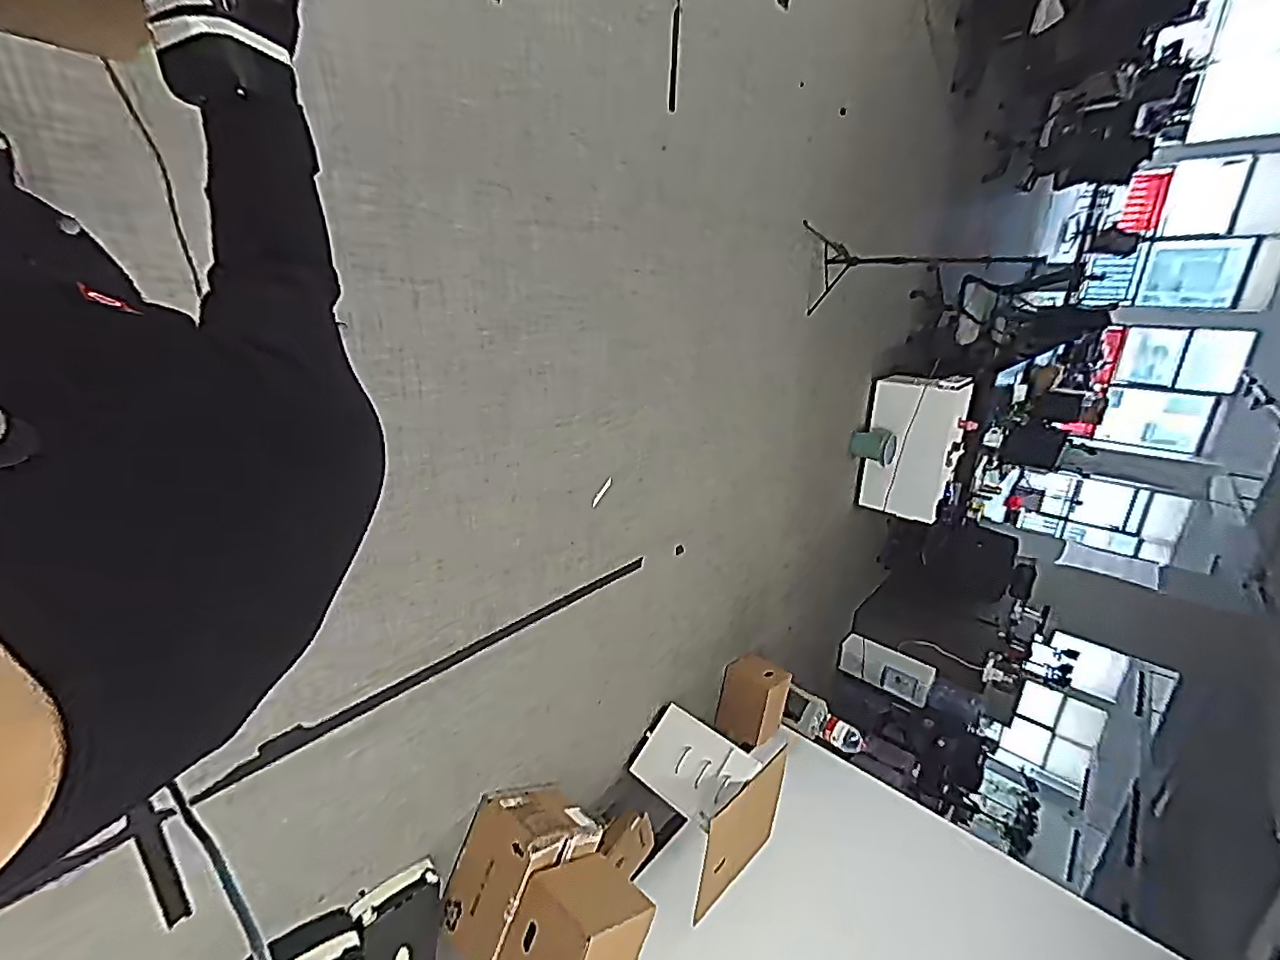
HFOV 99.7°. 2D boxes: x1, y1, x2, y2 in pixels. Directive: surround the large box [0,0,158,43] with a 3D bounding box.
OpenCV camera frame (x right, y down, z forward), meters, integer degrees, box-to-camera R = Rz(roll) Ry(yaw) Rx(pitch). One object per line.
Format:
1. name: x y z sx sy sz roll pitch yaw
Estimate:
1. large box: -0.531 -0.487 0.260 0.408 0.320 0.320 -18 122 -46
